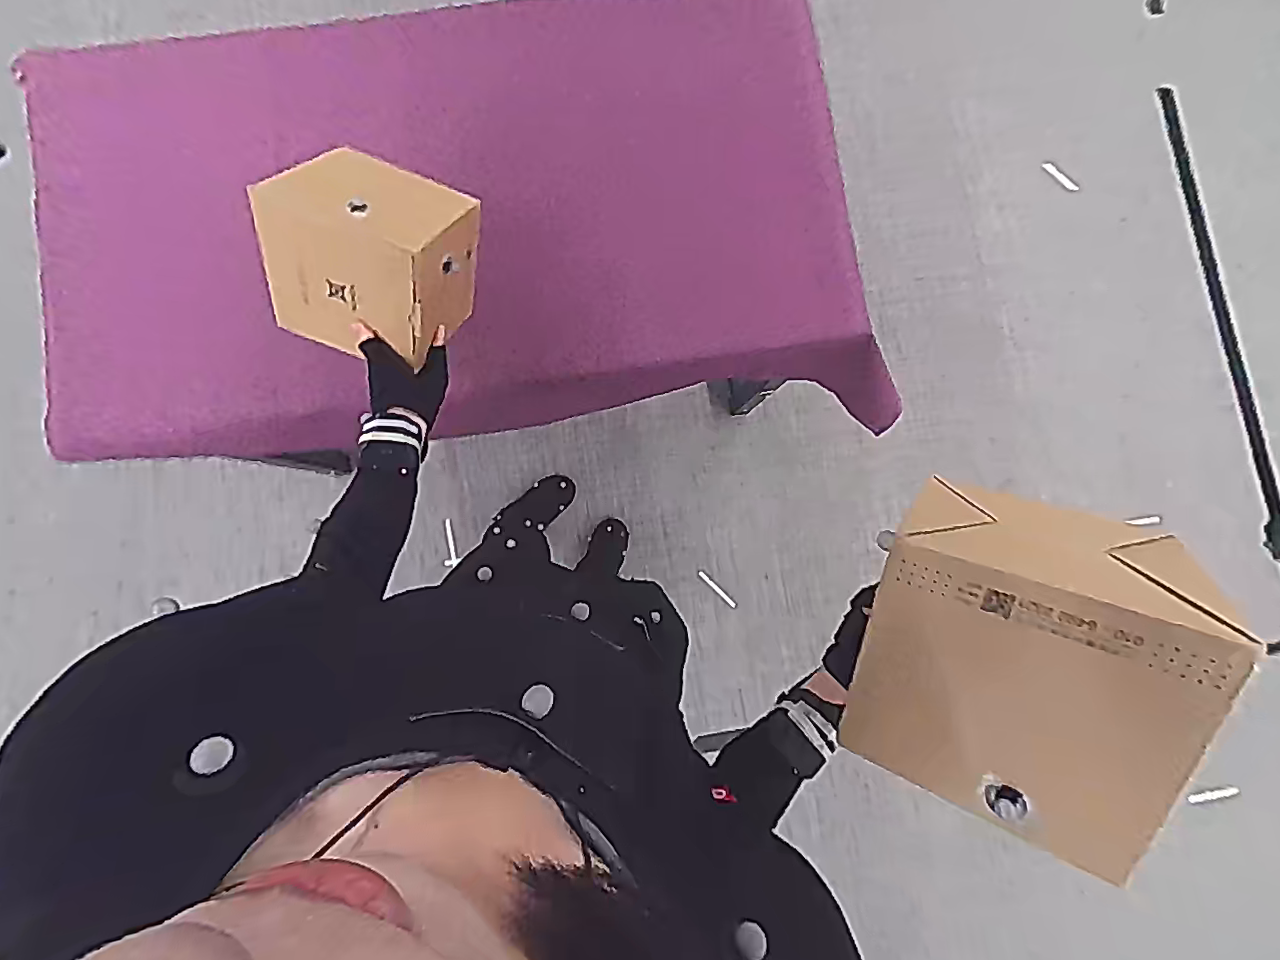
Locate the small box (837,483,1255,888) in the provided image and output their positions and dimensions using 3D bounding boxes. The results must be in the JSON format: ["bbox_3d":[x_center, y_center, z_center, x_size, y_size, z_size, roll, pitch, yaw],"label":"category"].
[{"bbox_3d":[0.260,0.111,0.378,0.168,0.179,0.176,18,113,30],"label":"small box"}]

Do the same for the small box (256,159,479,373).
[{"bbox_3d":[-0.313,-0.266,0.663,0.179,0.168,0.176,20,44,-2],"label":"small box"}]
